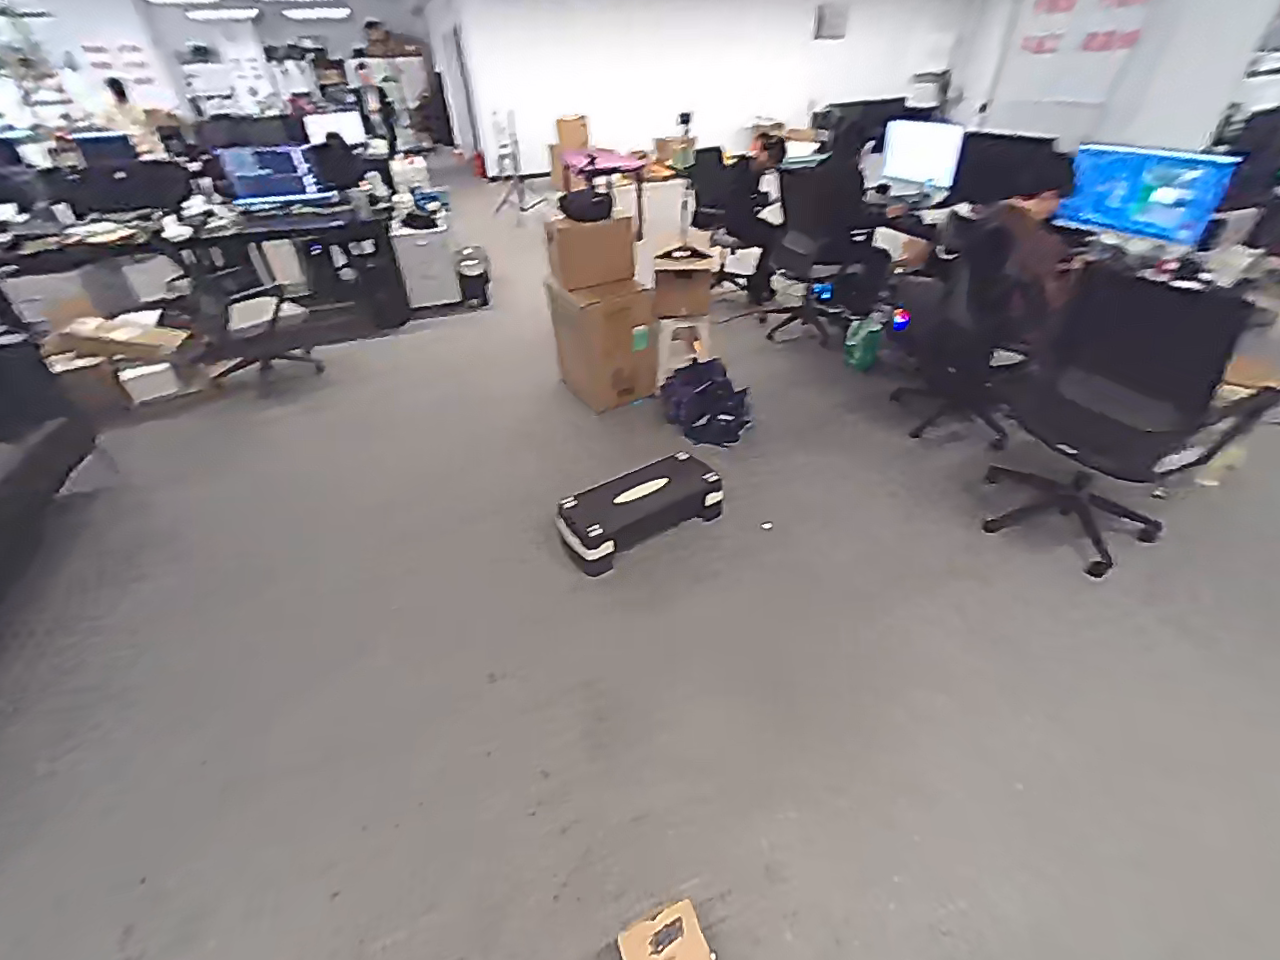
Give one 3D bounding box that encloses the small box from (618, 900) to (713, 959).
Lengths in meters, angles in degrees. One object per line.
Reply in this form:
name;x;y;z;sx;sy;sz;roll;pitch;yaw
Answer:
small box;0.064;1.012;1.097;0.168;0.176;0.179;-16;39;-15
